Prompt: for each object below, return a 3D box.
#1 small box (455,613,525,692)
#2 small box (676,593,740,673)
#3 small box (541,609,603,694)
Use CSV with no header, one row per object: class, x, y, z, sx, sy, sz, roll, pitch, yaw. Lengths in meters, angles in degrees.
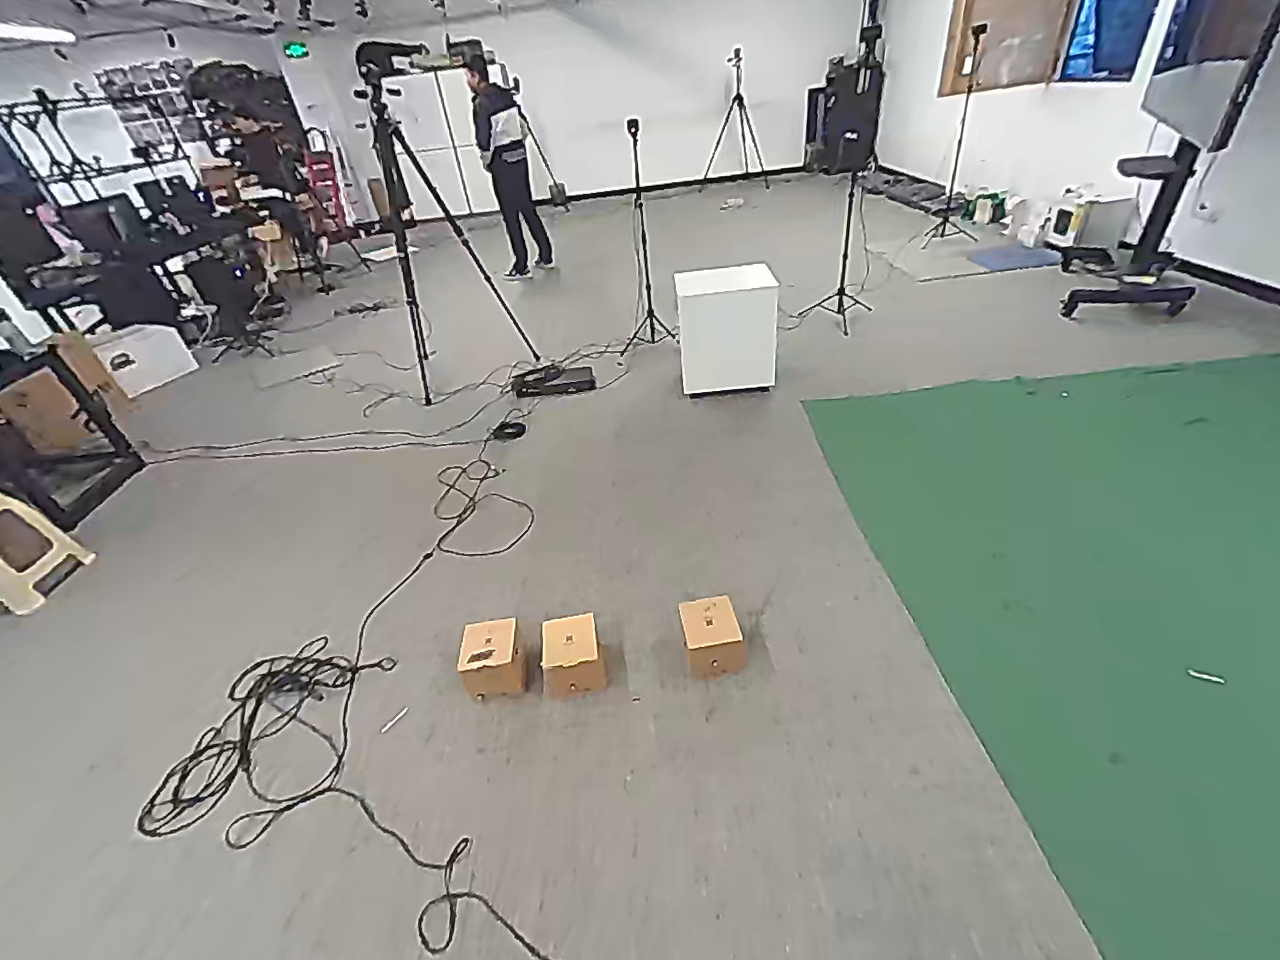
small box,-0.467,0.552,1.712,0.168,0.176,0.179,-8,36,-1
small box,0.211,0.484,1.694,0.168,0.176,0.179,-8,38,-3
small box,-0.213,0.537,1.694,0.168,0.176,0.179,-10,38,-3
